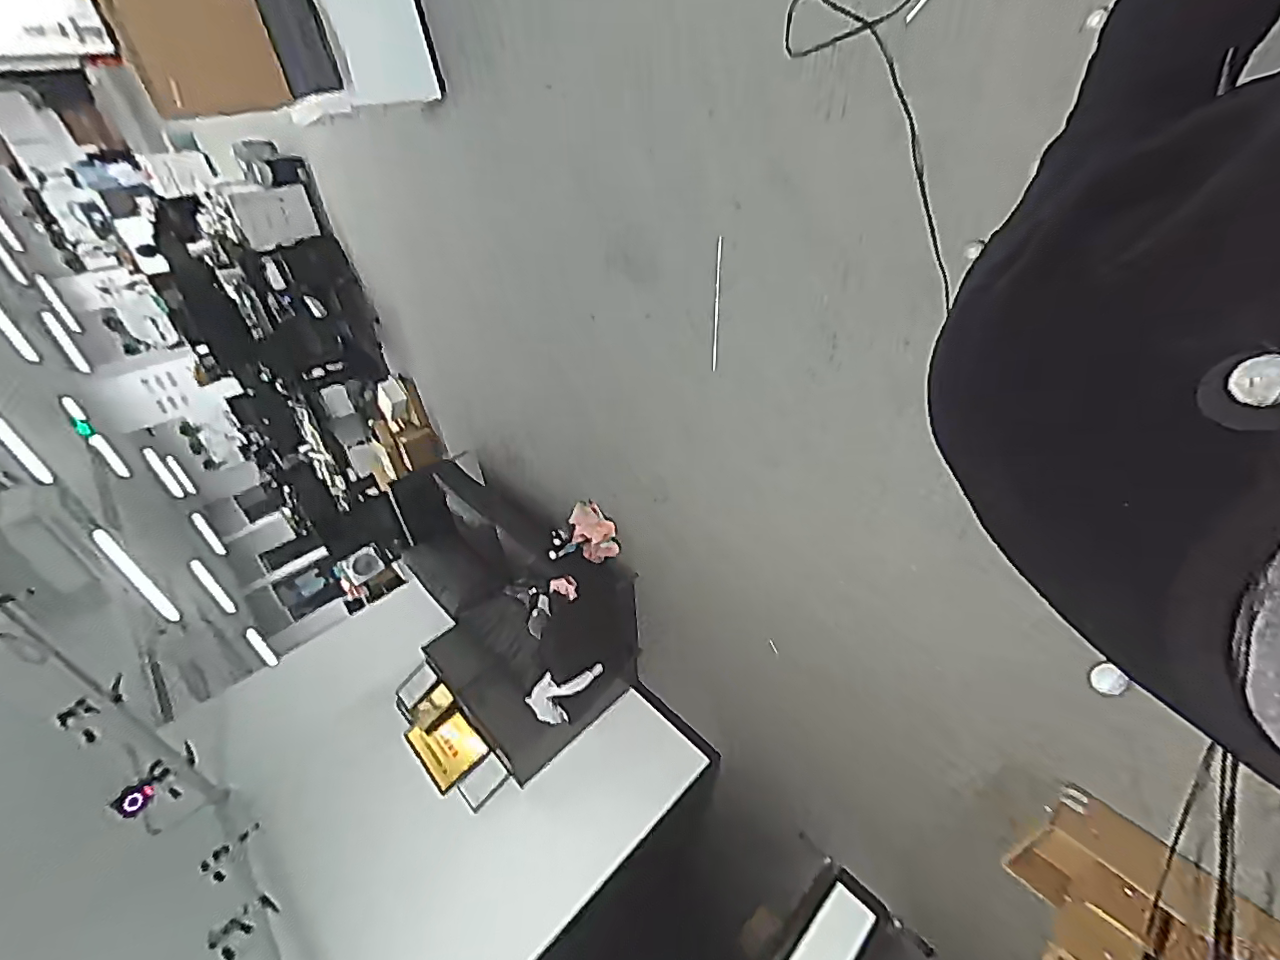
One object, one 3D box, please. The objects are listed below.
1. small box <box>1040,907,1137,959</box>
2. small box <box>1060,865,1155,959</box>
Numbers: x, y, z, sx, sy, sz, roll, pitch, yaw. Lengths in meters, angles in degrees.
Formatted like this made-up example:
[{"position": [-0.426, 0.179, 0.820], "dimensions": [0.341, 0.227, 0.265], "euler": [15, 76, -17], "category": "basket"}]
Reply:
[{"position": [1.368, 1.468, 1.651], "dimensions": [0.179, 0.176, 0.168], "euler": [28, 137, 37], "category": "small box"}, {"position": [1.491, 1.384, 1.723], "dimensions": [0.168, 0.176, 0.179], "euler": [32, 138, 33], "category": "small box"}]
